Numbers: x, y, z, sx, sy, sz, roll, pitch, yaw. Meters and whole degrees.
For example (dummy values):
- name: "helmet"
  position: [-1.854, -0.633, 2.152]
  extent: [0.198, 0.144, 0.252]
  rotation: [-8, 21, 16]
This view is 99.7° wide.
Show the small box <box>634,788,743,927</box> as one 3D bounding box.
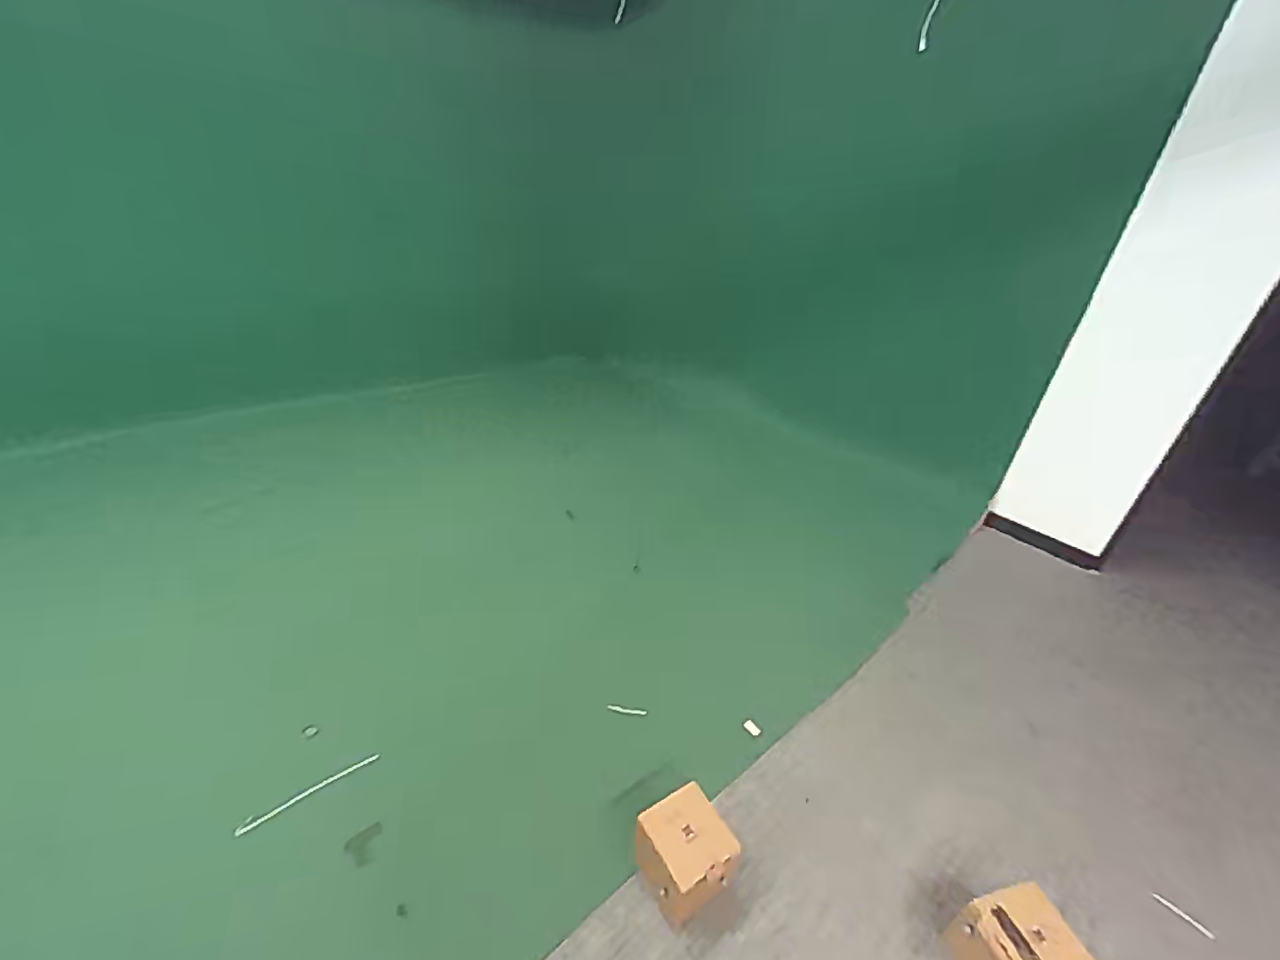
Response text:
- name: "small box"
  position: [0.102, 0.852, 1.214]
  extent: [0.168, 0.176, 0.179]
  rotation: [-14, 34, -32]
